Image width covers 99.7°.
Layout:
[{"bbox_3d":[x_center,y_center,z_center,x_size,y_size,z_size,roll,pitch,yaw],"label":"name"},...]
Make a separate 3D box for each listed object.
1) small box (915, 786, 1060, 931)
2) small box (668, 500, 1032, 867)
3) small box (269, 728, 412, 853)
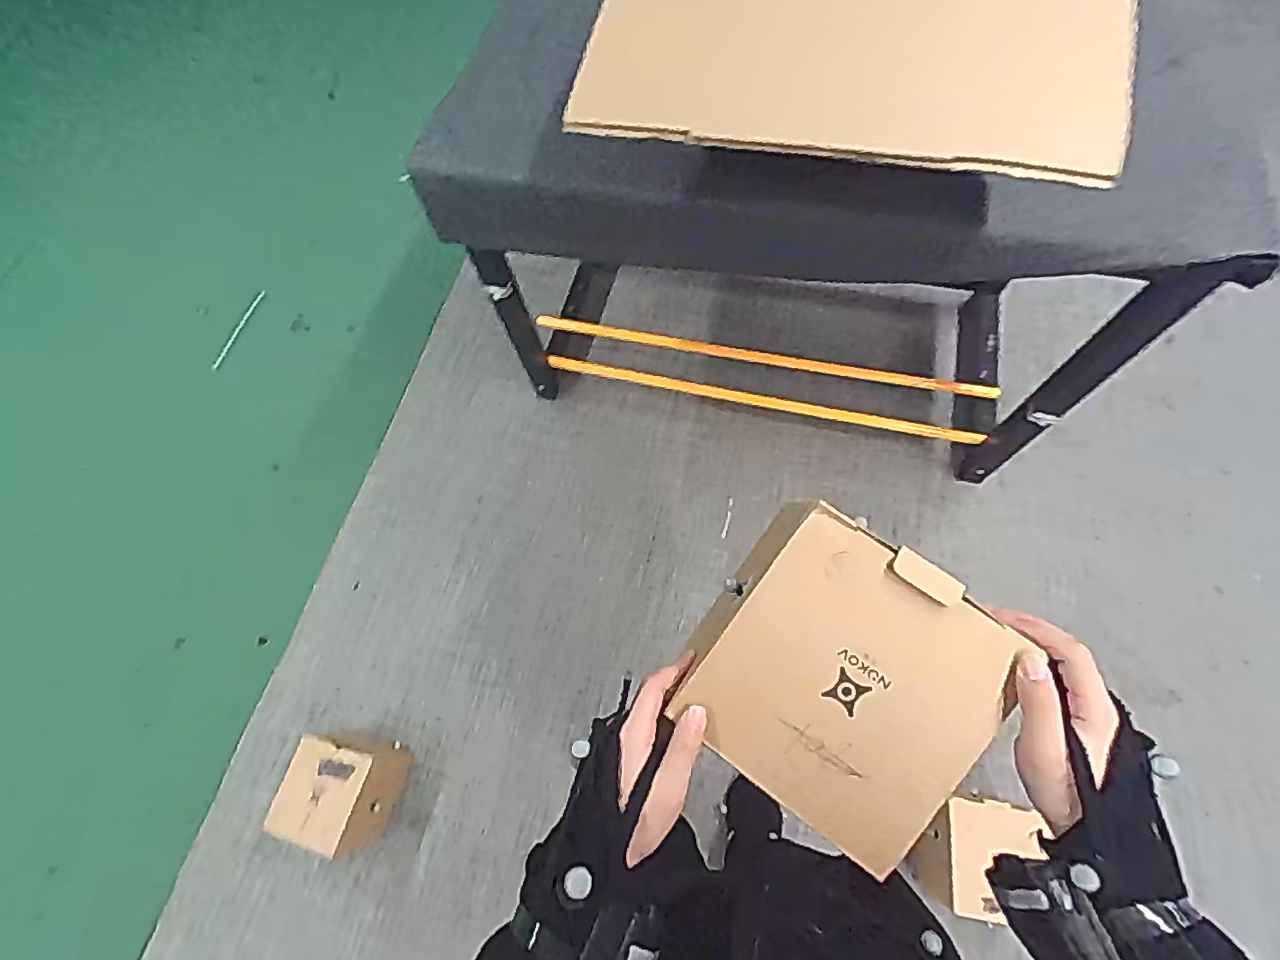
[{"bbox_3d":[0.616,0.670,0.985,0.168,0.176,0.179,7,67,8],"label":"small box"},{"bbox_3d":[0.140,0.131,0.425,0.168,0.176,0.179,35,93,9],"label":"small box"},{"bbox_3d":[-0.607,0.631,1.126,0.168,0.176,0.179,13,70,12],"label":"small box"}]
